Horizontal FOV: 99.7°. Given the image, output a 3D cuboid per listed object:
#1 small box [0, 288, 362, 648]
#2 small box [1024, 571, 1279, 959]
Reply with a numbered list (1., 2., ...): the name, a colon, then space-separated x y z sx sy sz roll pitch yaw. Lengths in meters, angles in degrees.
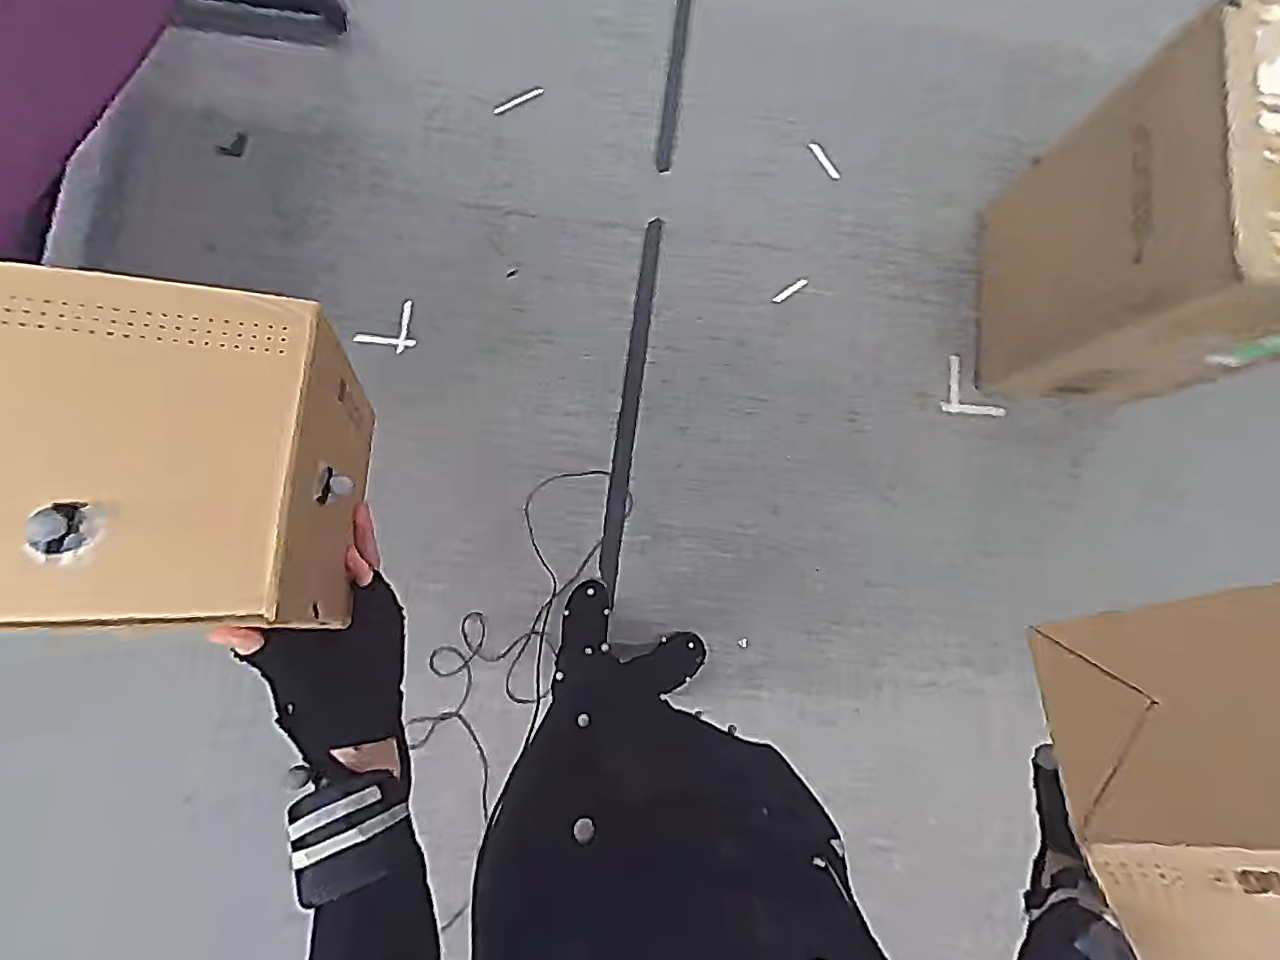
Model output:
1. small box: -0.278 0.008 0.322 0.179 0.168 0.176 2 72 -14
2. small box: 0.346 0.175 0.298 0.168 0.179 0.176 -28 100 35
